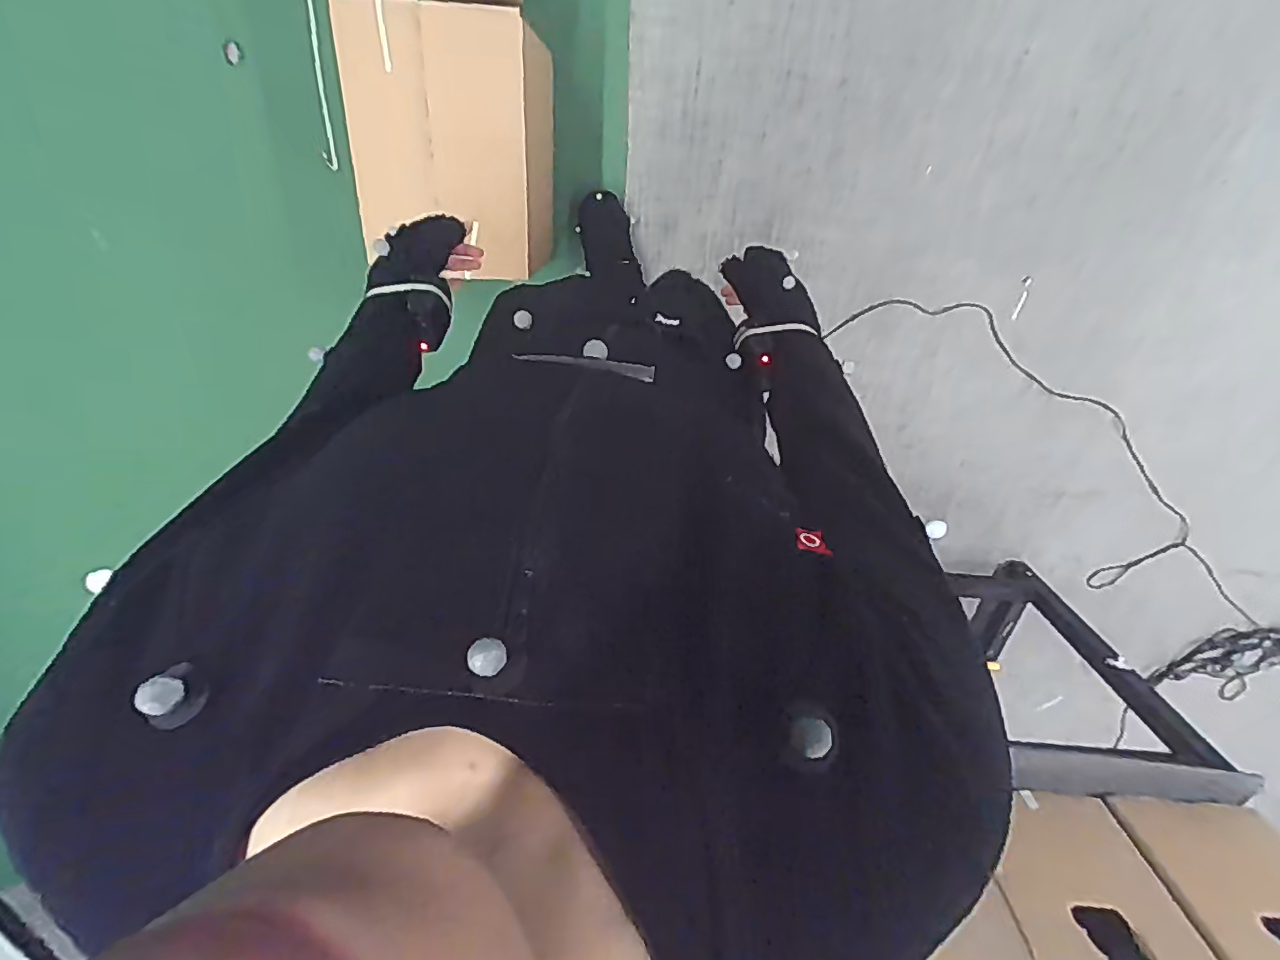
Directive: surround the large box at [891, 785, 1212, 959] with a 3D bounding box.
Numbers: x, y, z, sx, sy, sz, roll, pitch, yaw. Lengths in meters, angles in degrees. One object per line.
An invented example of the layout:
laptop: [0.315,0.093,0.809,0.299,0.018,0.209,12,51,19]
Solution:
large box: [0.729,0.855,1.025,0.320,0.320,0.408,4,117,-2]
